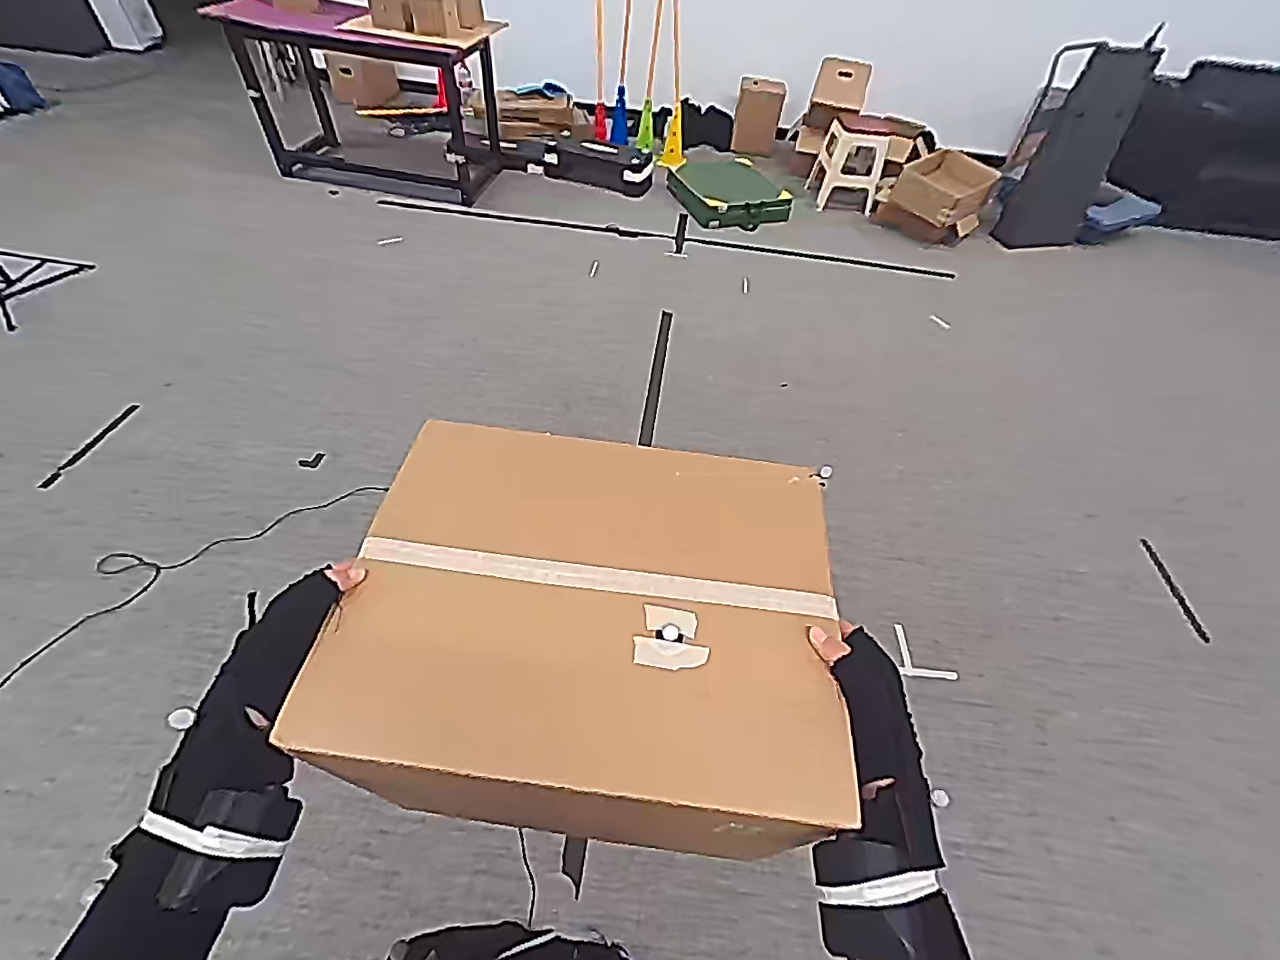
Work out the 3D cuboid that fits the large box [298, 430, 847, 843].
[{"bbox_3d":[-0.046,0.179,0.589,0.408,0.320,0.320,8,53,1],"label":"large box"}]
